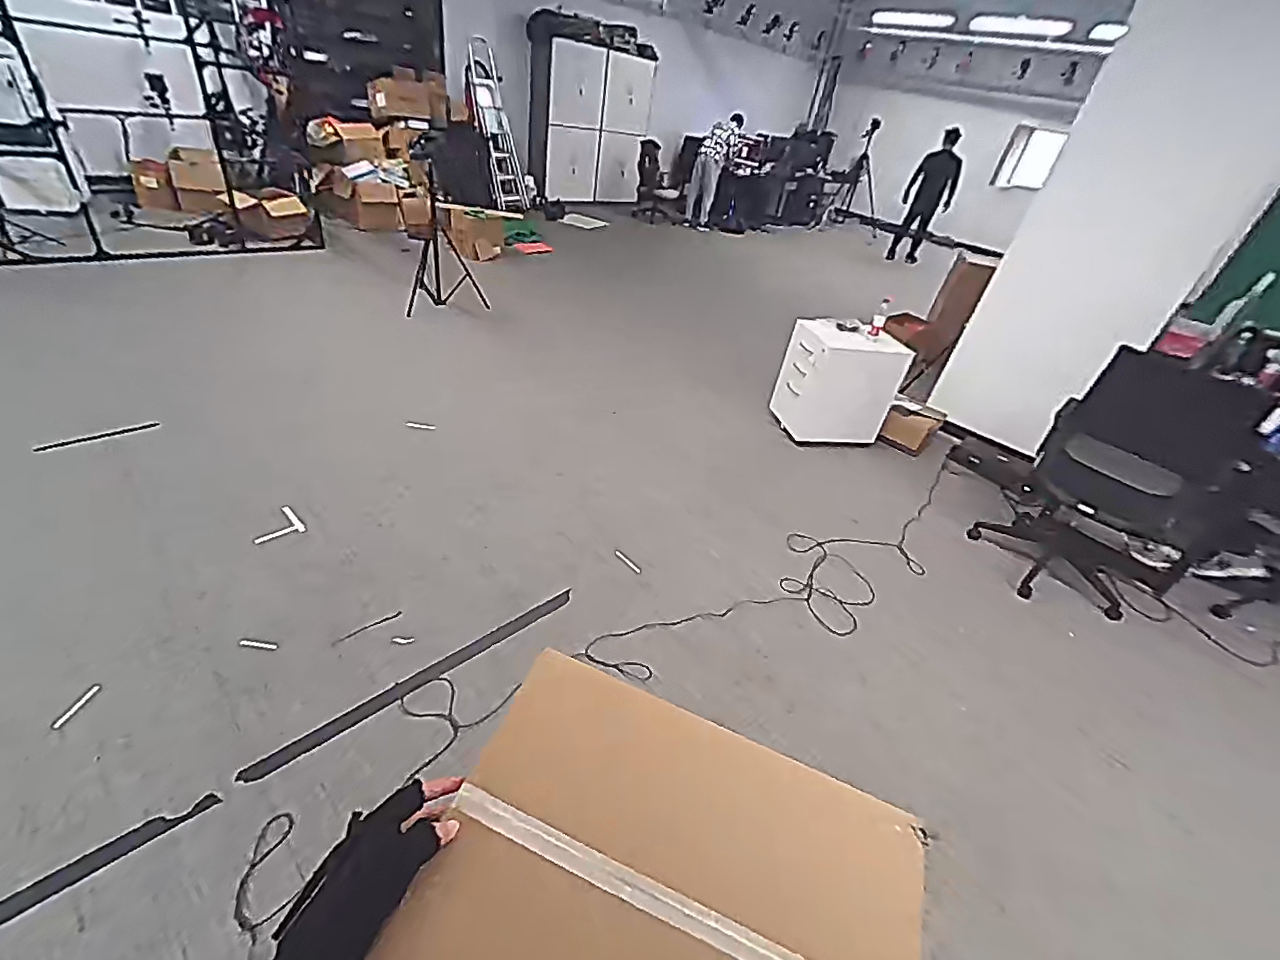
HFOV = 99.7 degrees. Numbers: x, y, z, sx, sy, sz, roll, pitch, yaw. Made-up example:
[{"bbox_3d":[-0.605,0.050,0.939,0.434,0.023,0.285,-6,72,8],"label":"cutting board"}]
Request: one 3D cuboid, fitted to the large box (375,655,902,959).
[{"bbox_3d":[0.002,0.457,0.570,0.408,0.320,0.320,21,47,10],"label":"large box"}]
